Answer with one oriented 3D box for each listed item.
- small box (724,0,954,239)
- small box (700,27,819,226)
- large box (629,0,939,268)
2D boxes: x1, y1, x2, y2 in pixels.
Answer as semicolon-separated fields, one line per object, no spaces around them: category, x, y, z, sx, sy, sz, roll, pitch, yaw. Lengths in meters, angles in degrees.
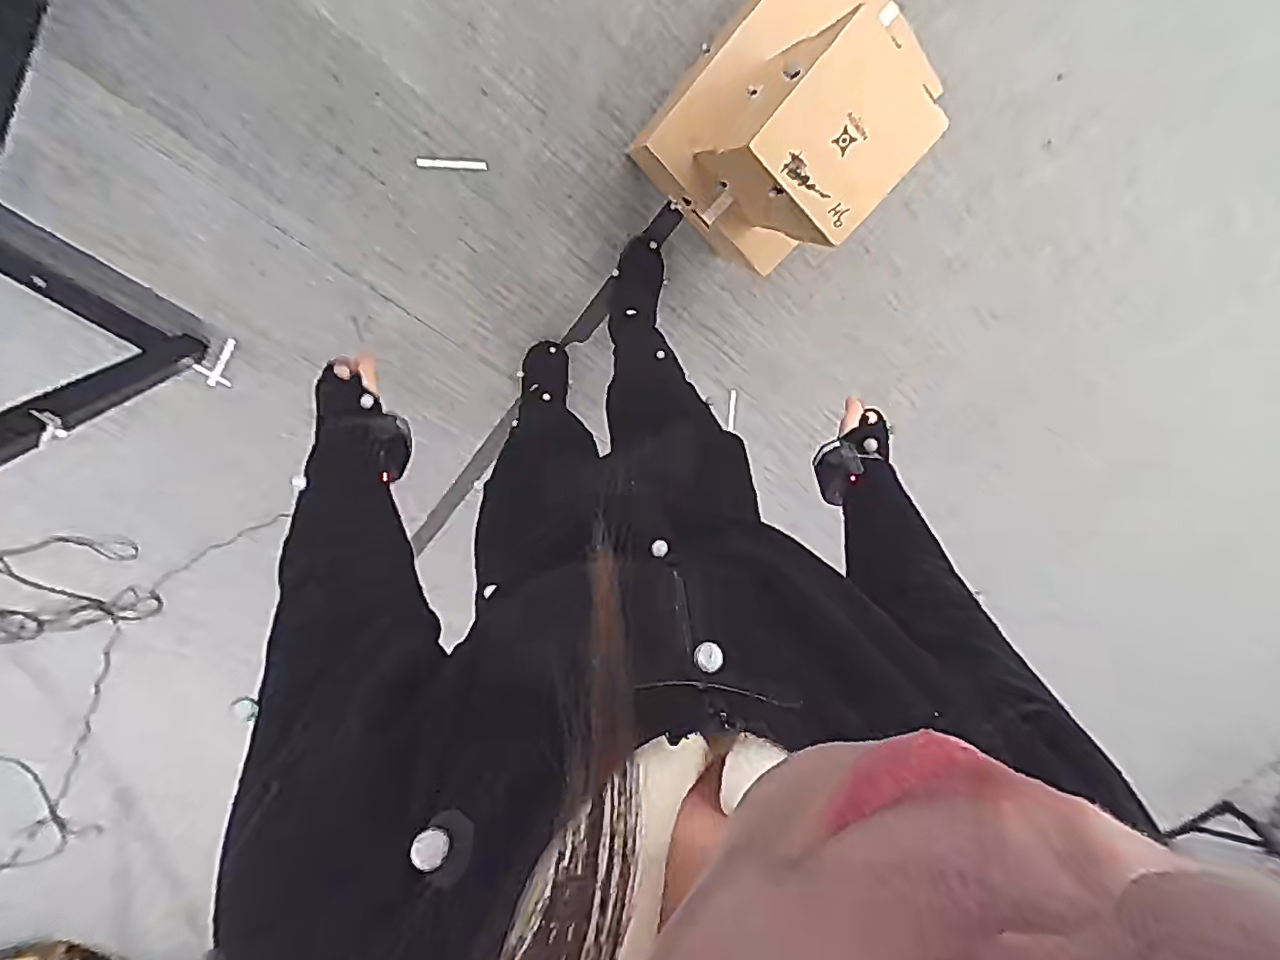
small box;0.231;-0.433;0.673;0.168;0.176;0.179;37;107;-22
small box;0.213;-0.516;0.813;0.168;0.176;0.179;38;108;-23
large box;0.232;-0.676;1.009;0.320;0.320;0.408;37;108;-25
